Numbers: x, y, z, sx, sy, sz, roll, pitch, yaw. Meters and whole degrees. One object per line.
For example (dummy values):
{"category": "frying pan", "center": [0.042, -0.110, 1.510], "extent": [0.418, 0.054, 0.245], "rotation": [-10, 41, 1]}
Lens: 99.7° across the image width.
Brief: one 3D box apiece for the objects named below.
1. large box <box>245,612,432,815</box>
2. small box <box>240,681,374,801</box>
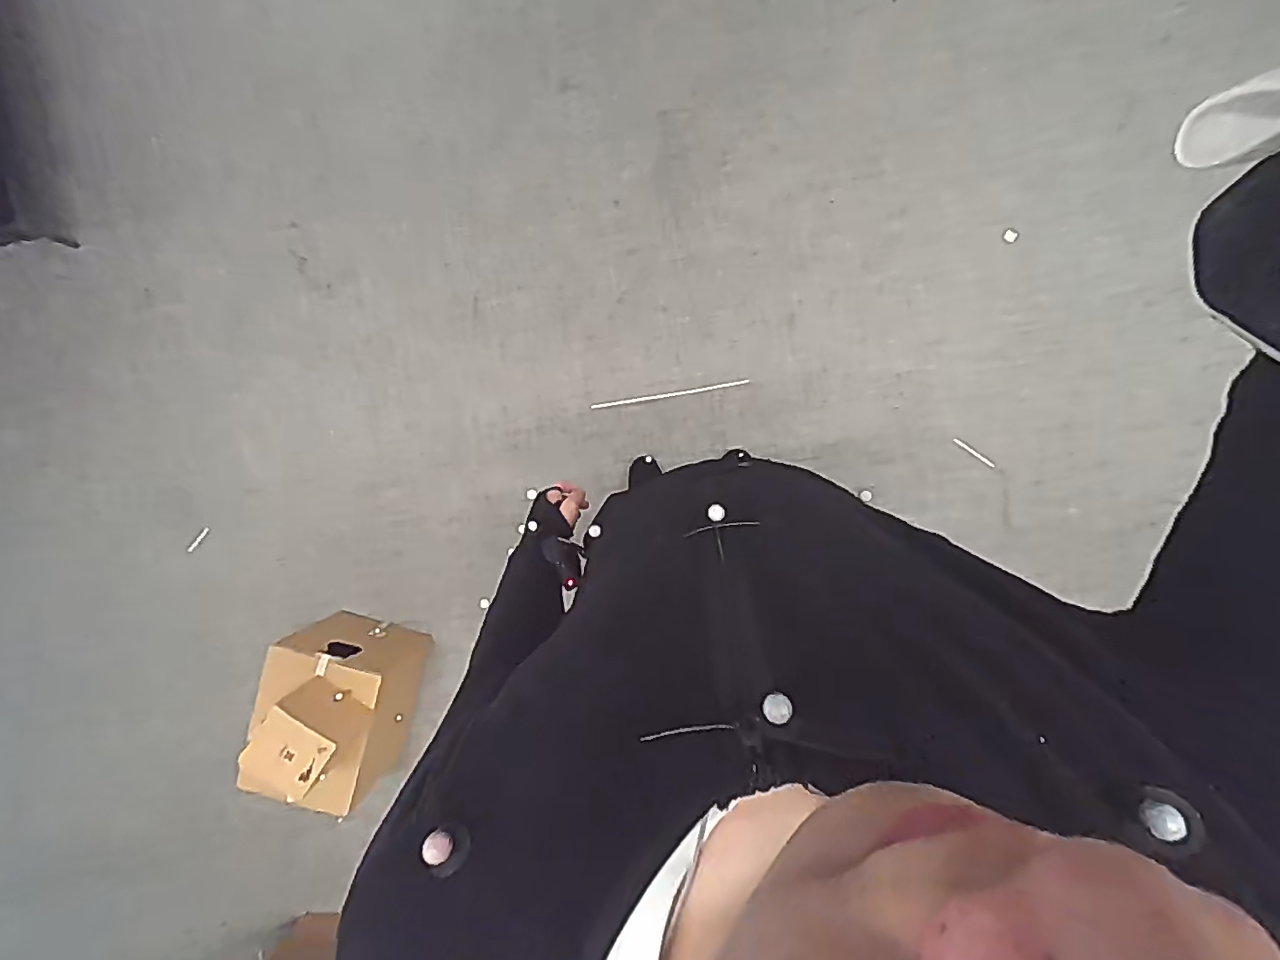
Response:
{"category": "large box", "center": [-0.841, 0.643, 1.553], "extent": [0.320, 0.320, 0.408], "rotation": [15, 94, 2]}
{"category": "small box", "center": [-0.791, 0.614, 1.303], "extent": [0.179, 0.176, 0.168], "rotation": [35, 93, 0]}
